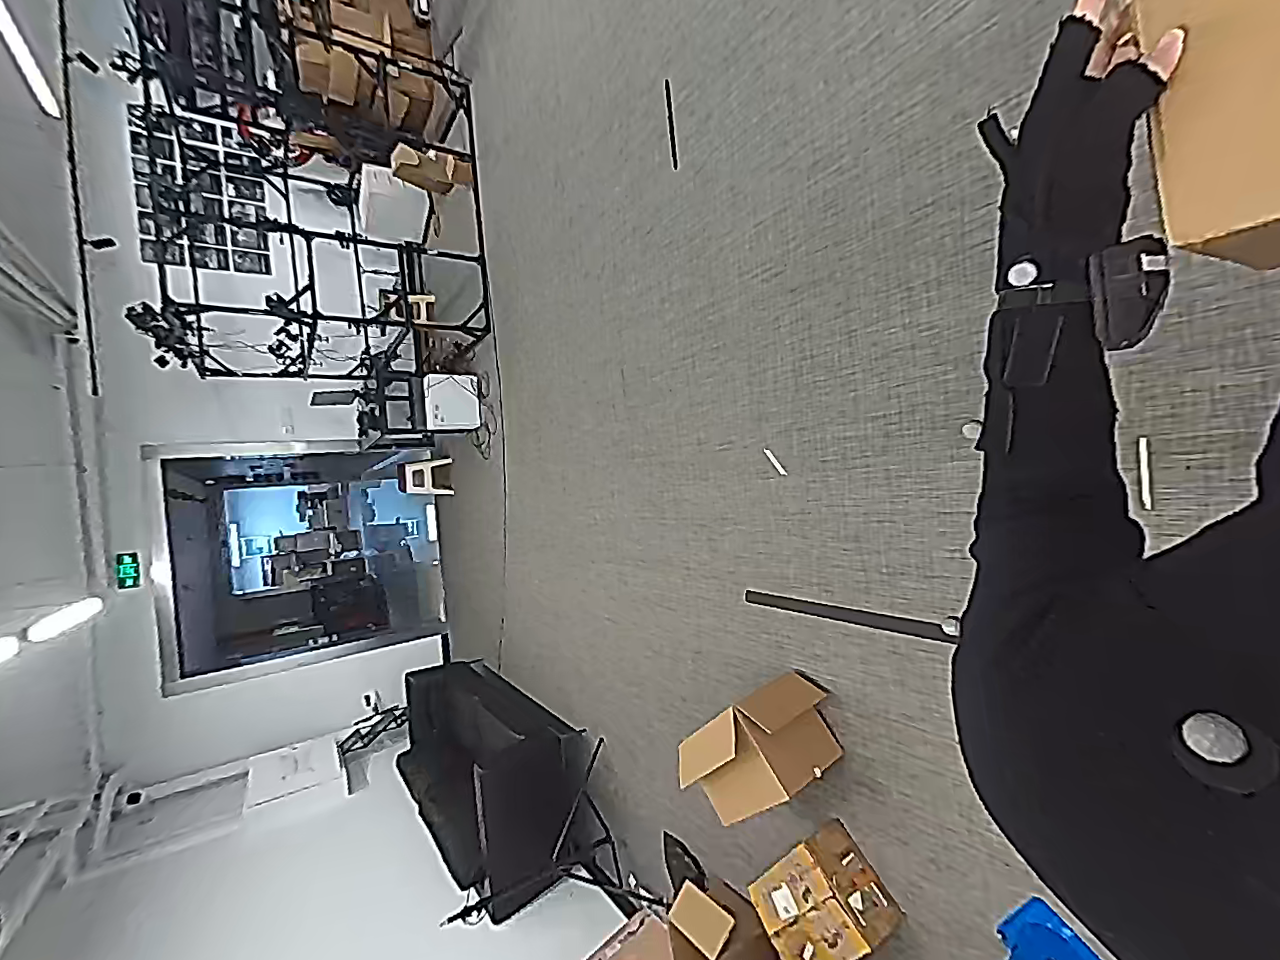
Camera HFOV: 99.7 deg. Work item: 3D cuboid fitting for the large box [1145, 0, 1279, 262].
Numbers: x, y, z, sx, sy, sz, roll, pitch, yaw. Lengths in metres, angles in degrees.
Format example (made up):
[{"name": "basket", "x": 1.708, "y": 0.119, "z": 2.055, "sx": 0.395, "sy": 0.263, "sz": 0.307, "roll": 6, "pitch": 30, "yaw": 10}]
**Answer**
[{"name": "large box", "x": 0.521, "y": -0.333, "z": 0.238, "sx": 0.408, "sy": 0.320, "sz": 0.320, "roll": -7, "pitch": 95, "yaw": 55}]
